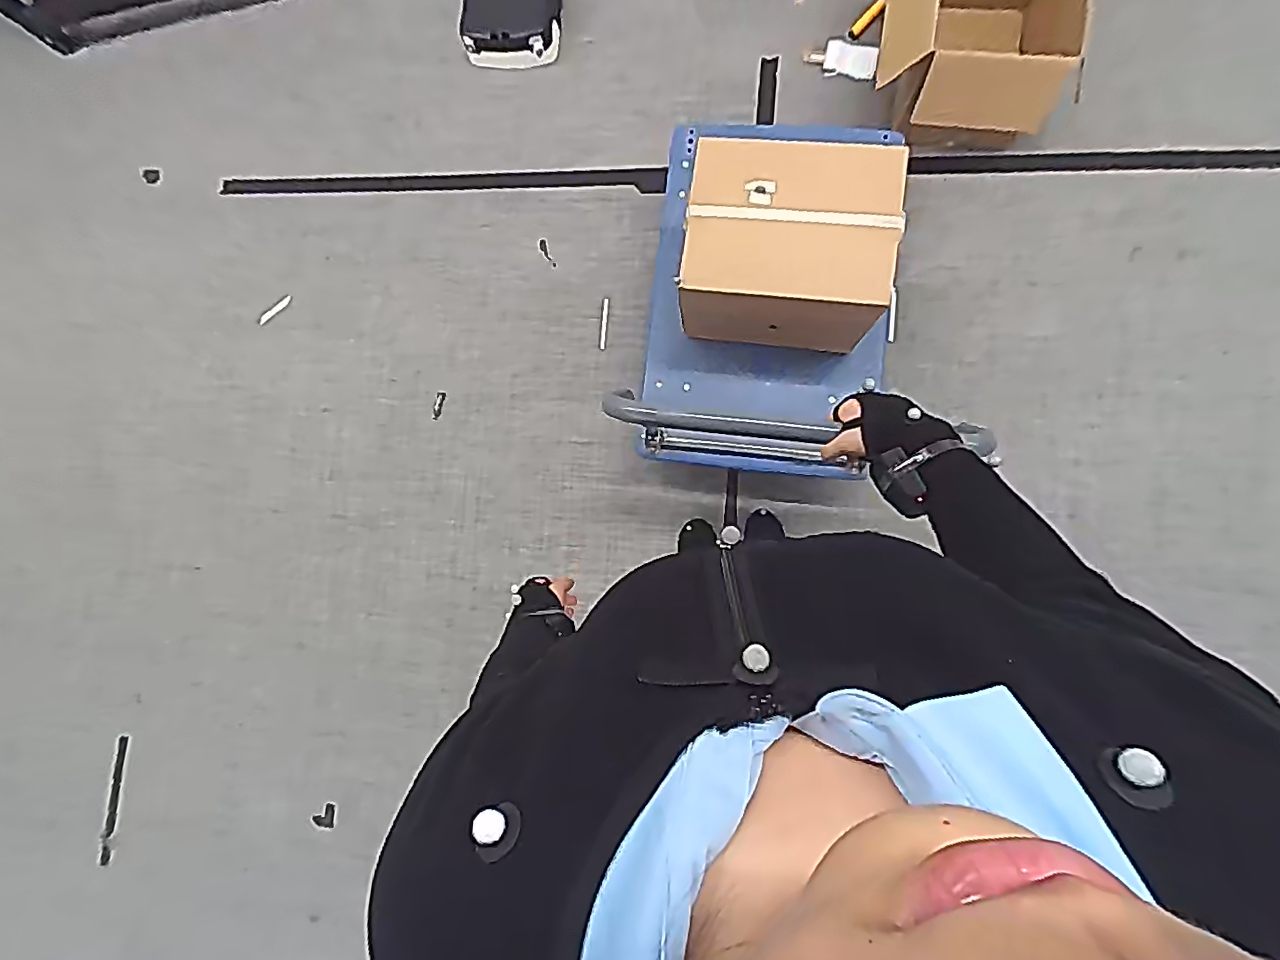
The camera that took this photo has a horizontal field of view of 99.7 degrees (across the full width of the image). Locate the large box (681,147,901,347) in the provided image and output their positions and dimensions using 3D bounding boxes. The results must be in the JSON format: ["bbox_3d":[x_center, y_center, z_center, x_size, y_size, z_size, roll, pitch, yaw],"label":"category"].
[{"bbox_3d":[0.317,-0.500,1.211,0.408,0.320,0.320,7,87,9],"label":"large box"}]
